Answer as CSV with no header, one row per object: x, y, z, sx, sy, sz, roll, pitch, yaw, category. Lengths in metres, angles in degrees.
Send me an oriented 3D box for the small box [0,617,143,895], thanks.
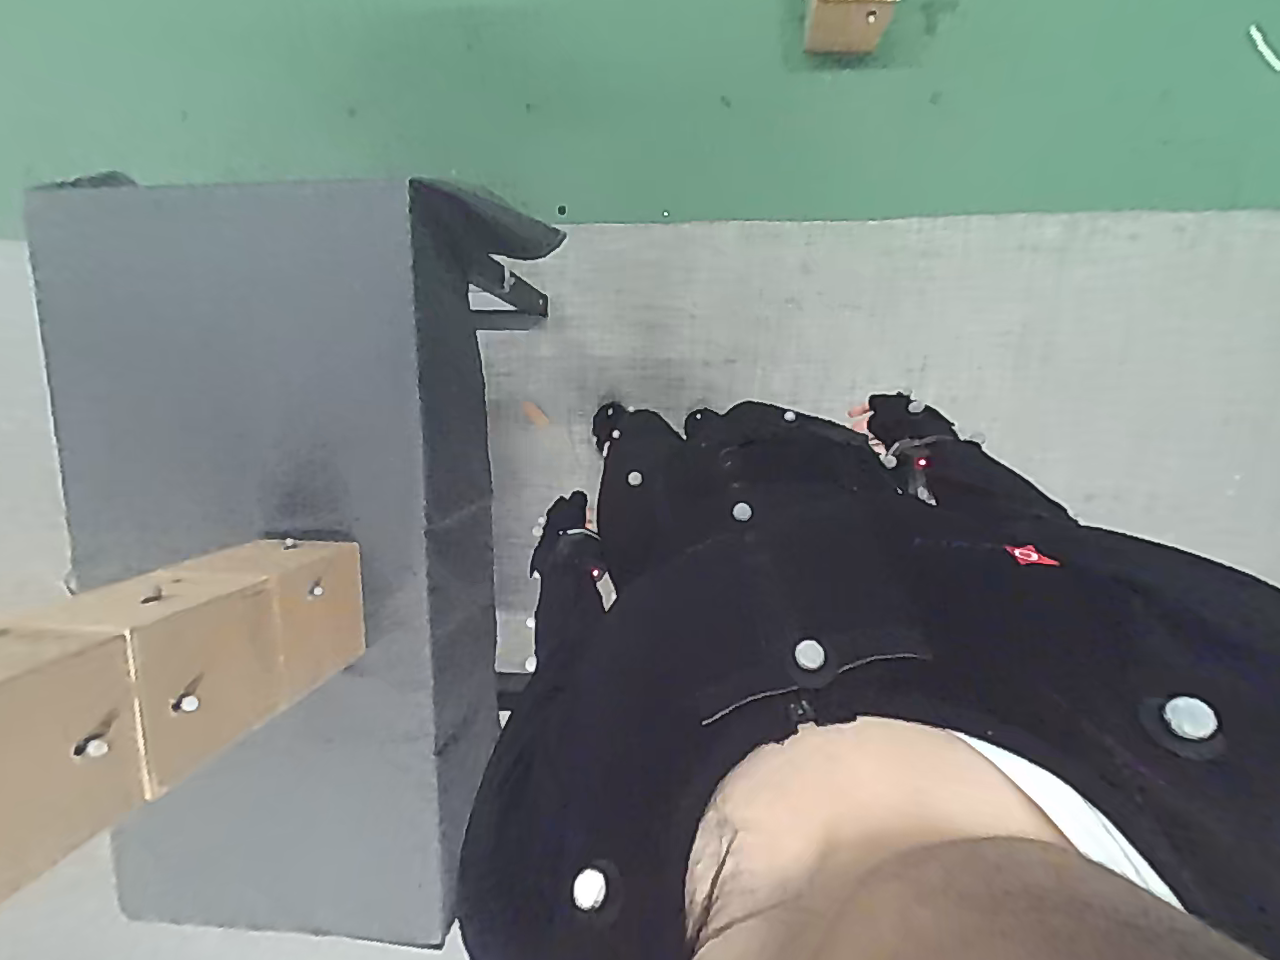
-0.559,0.223,0.436,0.168,0.176,0.179,3,98,7,small box

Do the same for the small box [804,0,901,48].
0.477,-1.103,1.204,0.179,0.176,0.168,6,98,6,small box

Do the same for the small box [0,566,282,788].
-0.534,0.199,0.596,0.168,0.176,0.179,1,98,7,small box
